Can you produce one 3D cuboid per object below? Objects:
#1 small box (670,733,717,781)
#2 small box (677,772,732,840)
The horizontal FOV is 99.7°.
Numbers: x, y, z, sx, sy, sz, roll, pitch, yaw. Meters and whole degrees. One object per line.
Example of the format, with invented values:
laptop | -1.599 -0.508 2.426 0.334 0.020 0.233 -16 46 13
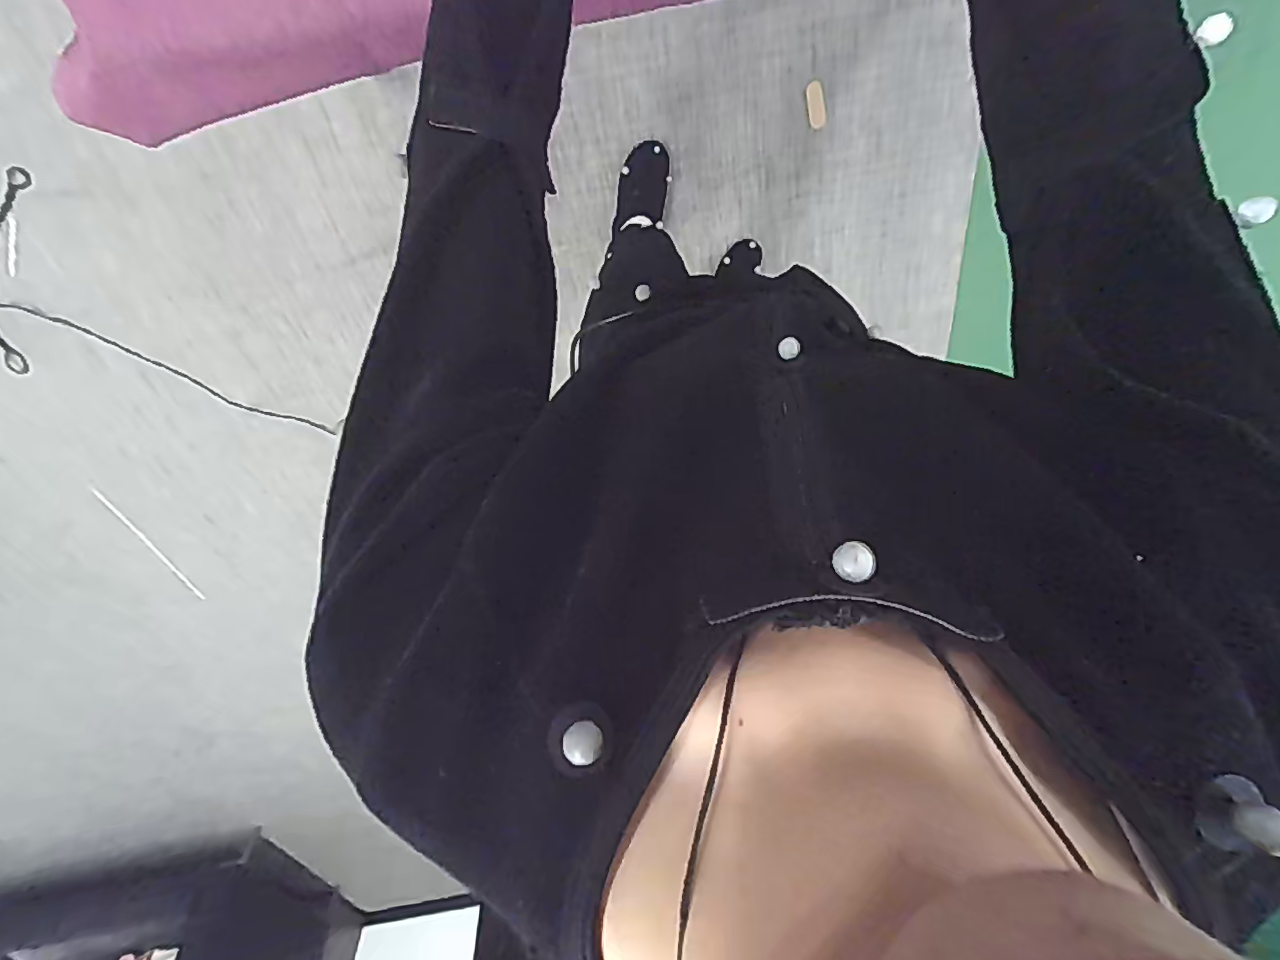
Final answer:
small box | 0.227 1.174 2.247 0.168 0.176 0.179 -13 124 4
small box | 0.250 1.270 2.116 0.179 0.176 0.168 -13 125 4
